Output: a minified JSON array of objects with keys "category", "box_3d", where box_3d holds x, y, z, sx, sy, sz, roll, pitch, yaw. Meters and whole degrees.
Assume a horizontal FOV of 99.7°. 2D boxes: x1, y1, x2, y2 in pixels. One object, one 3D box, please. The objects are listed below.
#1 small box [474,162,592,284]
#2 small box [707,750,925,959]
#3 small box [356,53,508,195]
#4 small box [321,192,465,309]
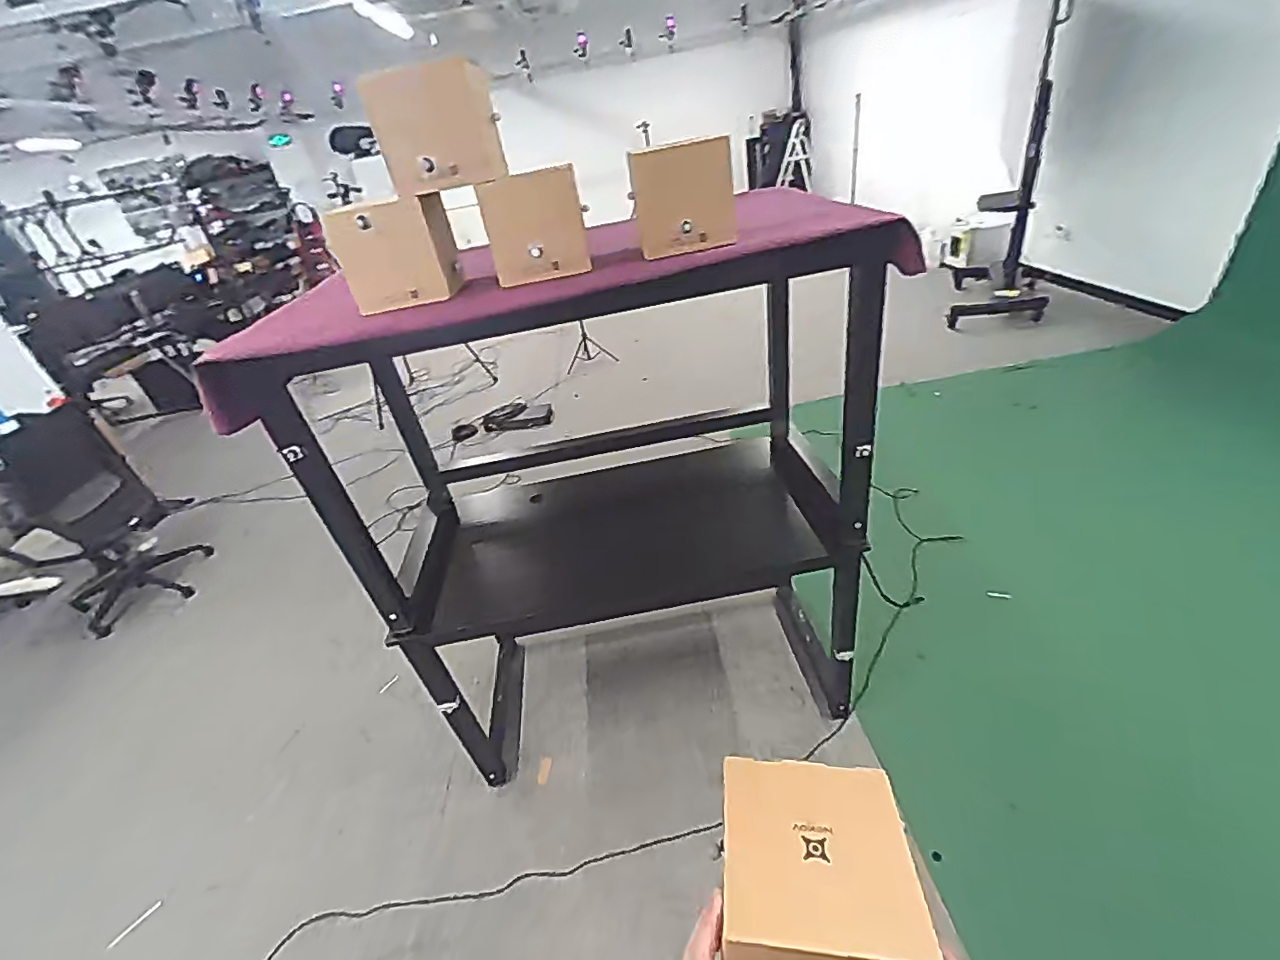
[{"category":"small box","box_3d":[-0.185,-0.469,0.988,0.168,0.176,0.179,-11,33,1]},{"category":"small box","box_3d":[0.152,0.397,0.517,0.168,0.176,0.179,0,21,9]},{"category":"small box","box_3d":[-0.331,-0.584,0.904,0.168,0.176,0.179,-10,33,3]},{"category":"small box","box_3d":[-0.434,-0.422,0.987,0.168,0.176,0.179,-11,31,0]}]
